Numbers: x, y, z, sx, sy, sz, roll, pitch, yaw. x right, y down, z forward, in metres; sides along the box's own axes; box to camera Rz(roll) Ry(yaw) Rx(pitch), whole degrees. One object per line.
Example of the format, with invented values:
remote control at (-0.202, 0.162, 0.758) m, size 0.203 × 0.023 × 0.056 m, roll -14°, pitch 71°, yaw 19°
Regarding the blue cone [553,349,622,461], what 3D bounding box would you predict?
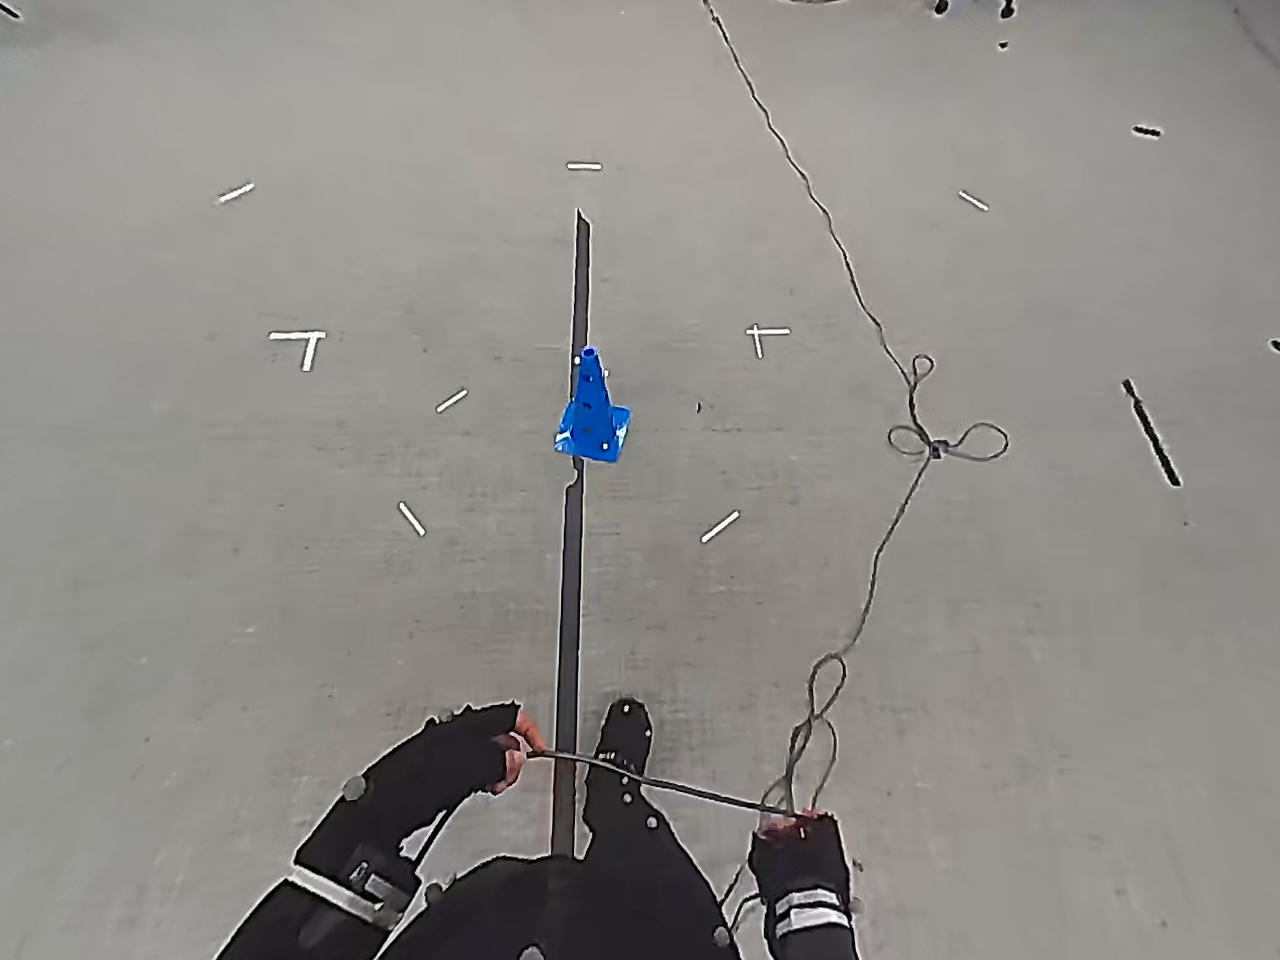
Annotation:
blue cone at (-0.151, -0.224, 1.506) m, size 0.192 × 0.380 × 0.193 m, roll 14°, pitch 63°, yaw 5°
